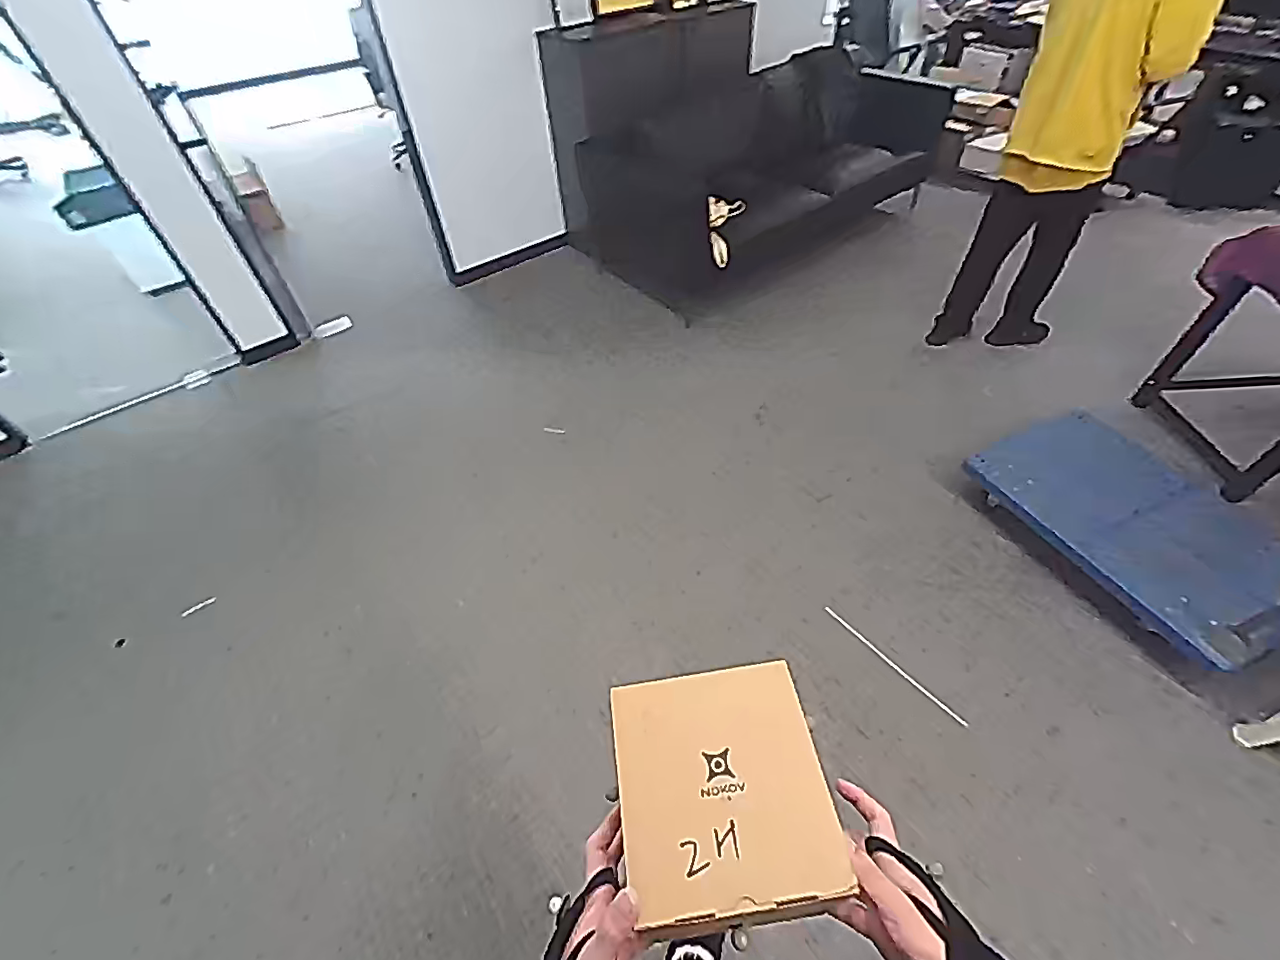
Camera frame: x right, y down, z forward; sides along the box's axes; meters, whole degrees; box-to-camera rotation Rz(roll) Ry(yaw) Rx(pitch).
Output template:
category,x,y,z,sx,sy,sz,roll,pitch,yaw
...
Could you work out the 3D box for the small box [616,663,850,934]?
category,x,y,z,sx,sy,sz,roll,pitch,yaw
small box,0.070,0.297,0.505,0.168,0.176,0.179,-8,47,0
